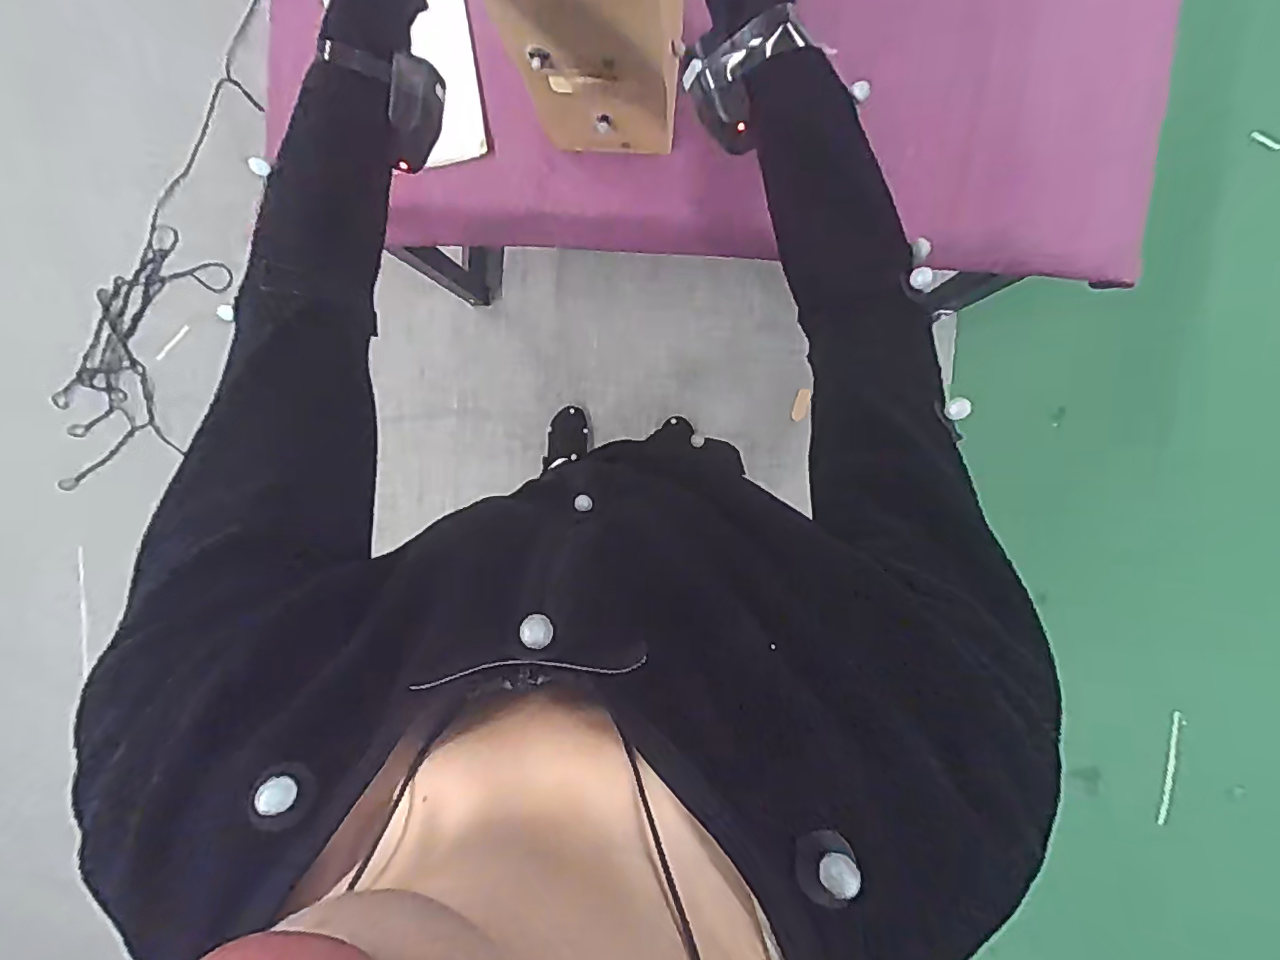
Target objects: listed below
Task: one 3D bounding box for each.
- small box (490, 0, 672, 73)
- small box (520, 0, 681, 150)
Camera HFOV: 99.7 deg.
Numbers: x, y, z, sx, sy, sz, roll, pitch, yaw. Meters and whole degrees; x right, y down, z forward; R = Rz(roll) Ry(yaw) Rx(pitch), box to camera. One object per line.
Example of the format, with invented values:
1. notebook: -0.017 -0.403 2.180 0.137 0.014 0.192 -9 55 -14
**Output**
1. small box: -0.052 -0.521 0.501 0.168 0.176 0.179 6 93 4
2. small box: -0.039 -0.537 0.665 0.168 0.176 0.179 5 95 4
